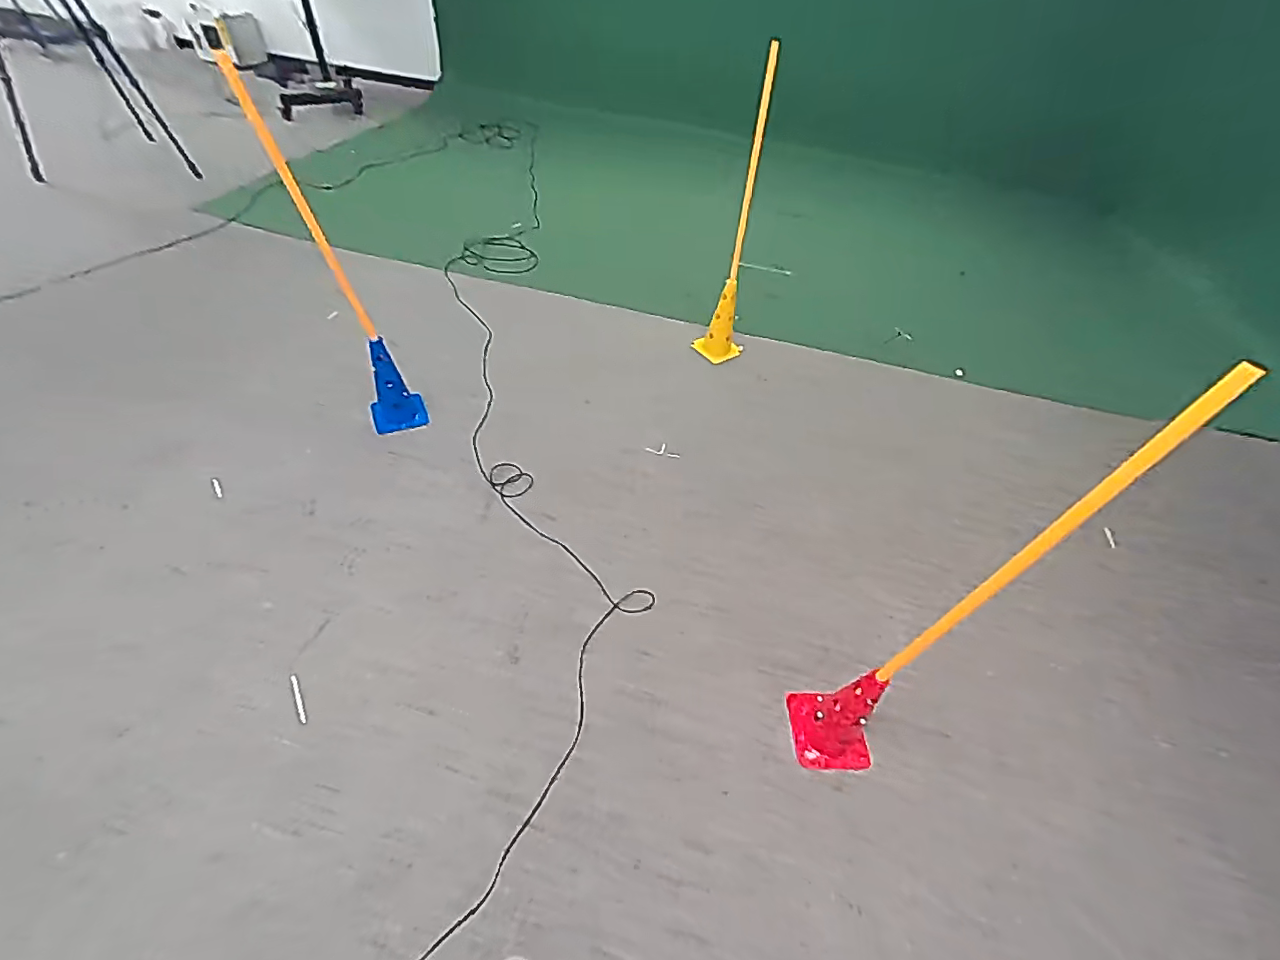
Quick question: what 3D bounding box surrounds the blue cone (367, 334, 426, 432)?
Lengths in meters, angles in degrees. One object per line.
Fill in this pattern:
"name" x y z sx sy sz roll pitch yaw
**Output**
"blue cone" -0.946 -0.372 2.021 0.193 0.380 0.192 -19 53 -21
